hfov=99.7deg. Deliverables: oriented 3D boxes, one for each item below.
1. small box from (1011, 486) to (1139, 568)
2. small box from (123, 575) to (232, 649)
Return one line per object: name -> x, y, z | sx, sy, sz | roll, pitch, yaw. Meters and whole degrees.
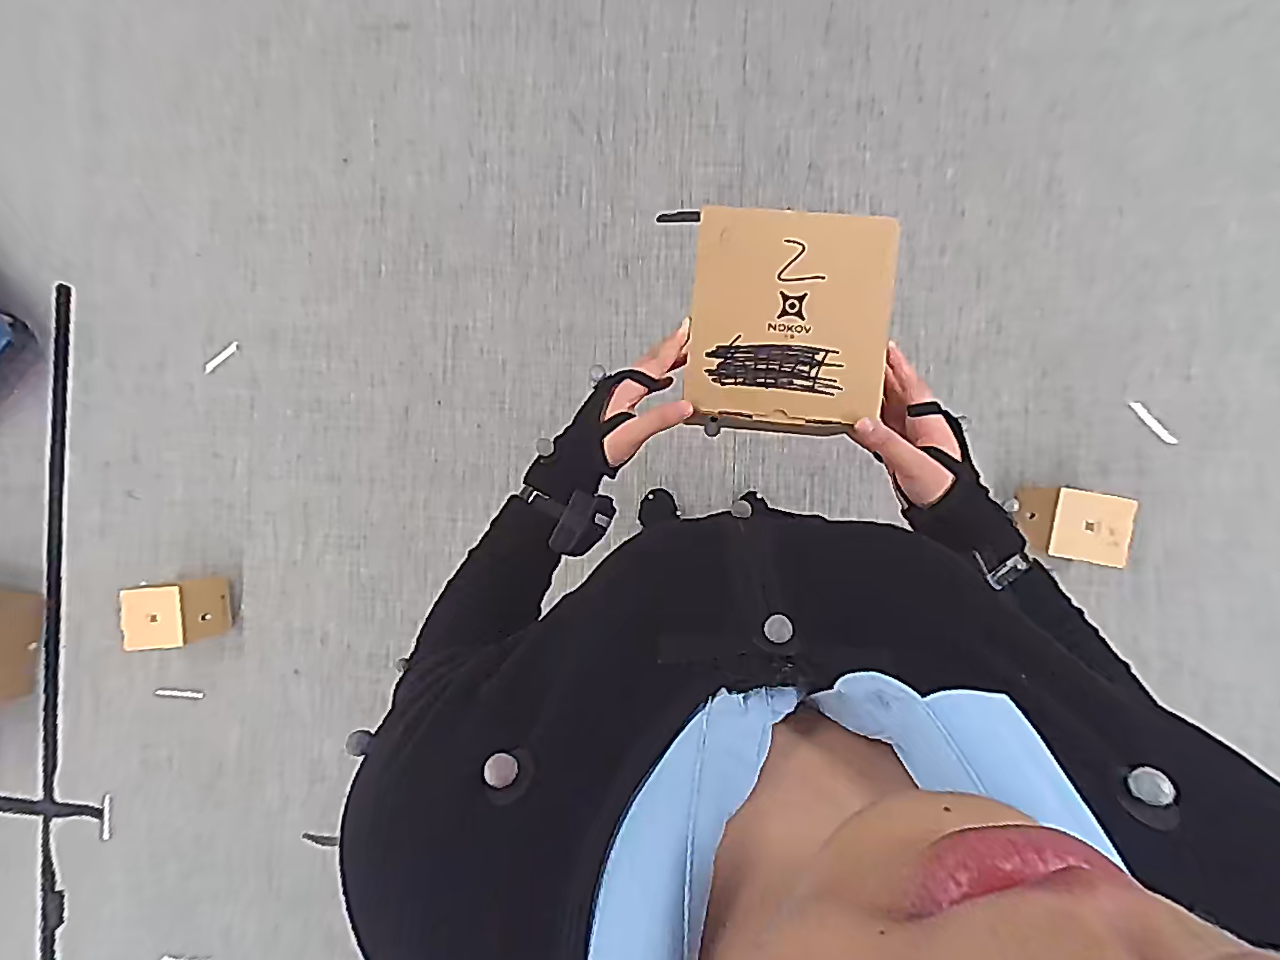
small box -> 1.074, 0.113, 1.351 | 0.179, 0.176, 0.168 | 11, 92, 4
small box -> -1.301, 0.371, 1.537 | 0.179, 0.176, 0.168 | -5, 90, 5
